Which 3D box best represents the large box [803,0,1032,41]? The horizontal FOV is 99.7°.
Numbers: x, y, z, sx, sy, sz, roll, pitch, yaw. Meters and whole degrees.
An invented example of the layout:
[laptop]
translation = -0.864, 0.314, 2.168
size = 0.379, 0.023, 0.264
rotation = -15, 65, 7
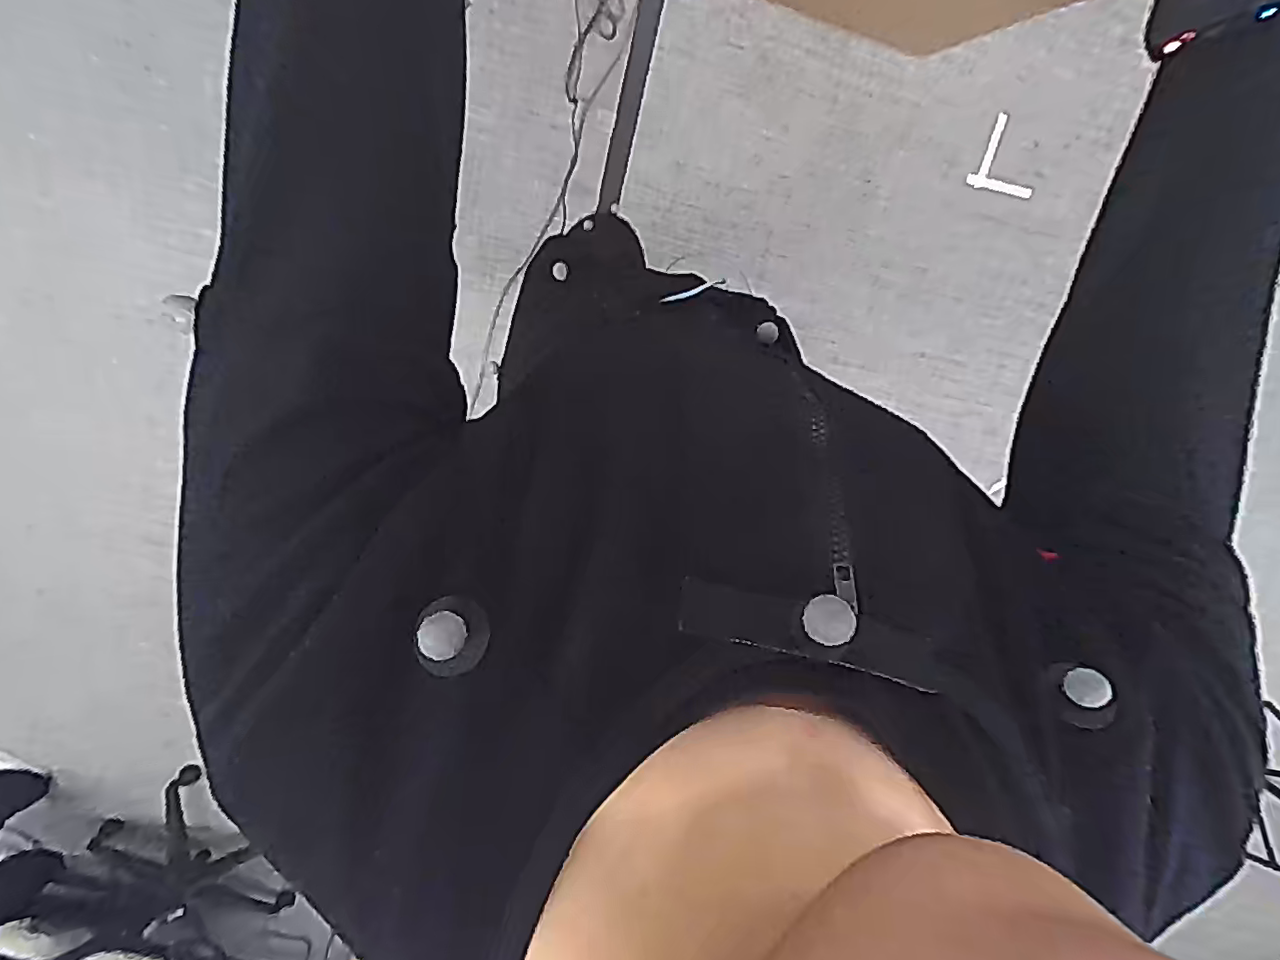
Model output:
[large box]
translation = 0.161, -0.559, 0.352
size = 0.408, 0.320, 0.320
rotation = 11, 120, -10
